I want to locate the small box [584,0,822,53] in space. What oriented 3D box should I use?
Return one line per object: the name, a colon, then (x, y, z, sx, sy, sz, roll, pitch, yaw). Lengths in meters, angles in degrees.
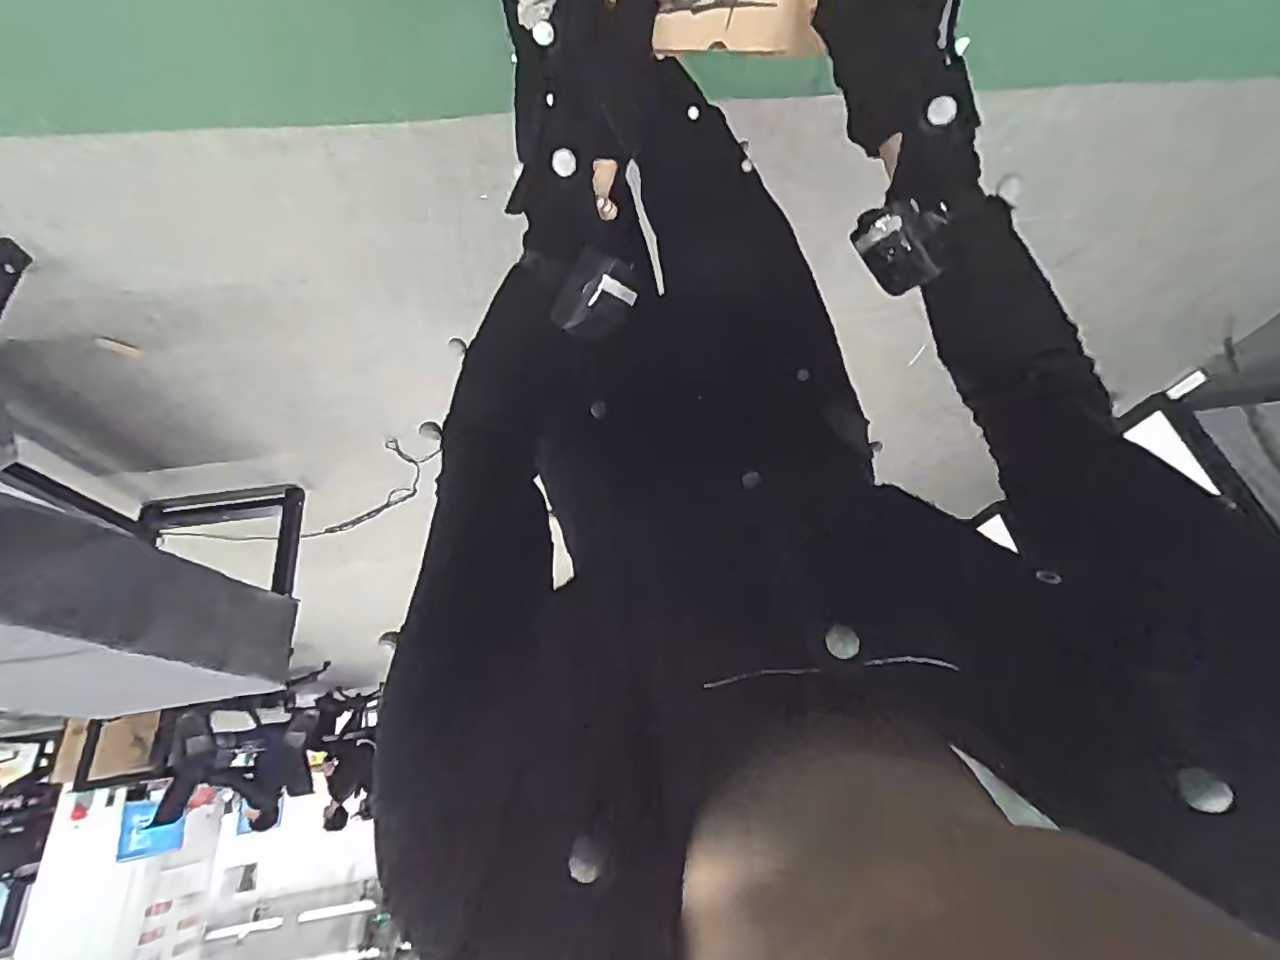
small box: (0.040, -0.428, 0.362, 0.168, 0.176, 0.179, -7, 150, -9)
